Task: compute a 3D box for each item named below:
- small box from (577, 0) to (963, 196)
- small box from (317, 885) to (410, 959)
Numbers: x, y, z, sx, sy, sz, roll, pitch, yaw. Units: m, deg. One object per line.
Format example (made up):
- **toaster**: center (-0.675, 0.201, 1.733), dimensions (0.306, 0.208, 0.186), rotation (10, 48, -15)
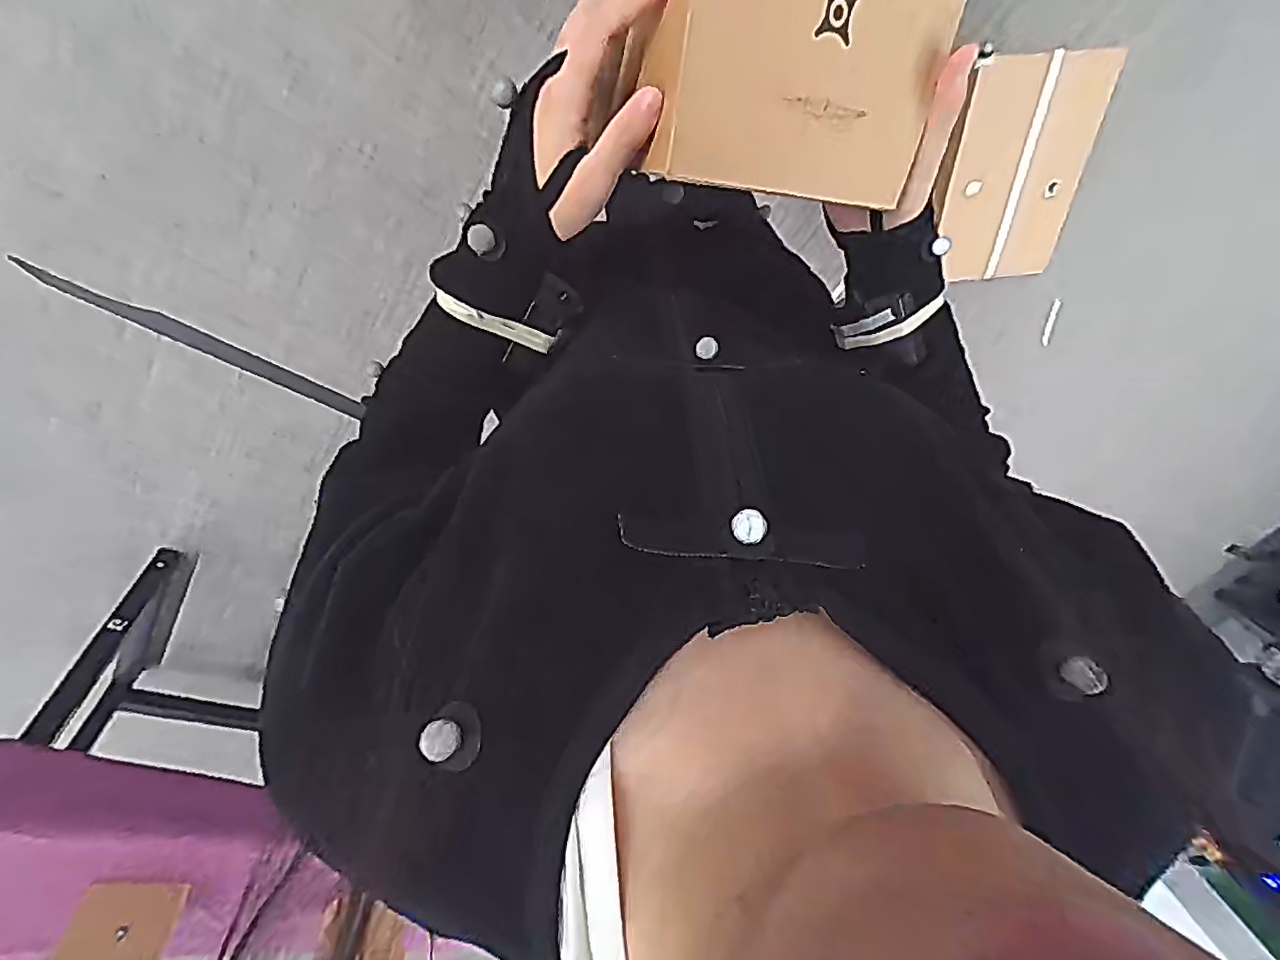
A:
- **small box**: center (0.068, -0.288, 0.328), dimensions (0.168, 0.176, 0.179), rotation (-6, 123, -25)
- **small box**: center (-0.687, 1.136, 1.340), dimensions (0.168, 0.176, 0.179), rotation (26, 116, -28)
